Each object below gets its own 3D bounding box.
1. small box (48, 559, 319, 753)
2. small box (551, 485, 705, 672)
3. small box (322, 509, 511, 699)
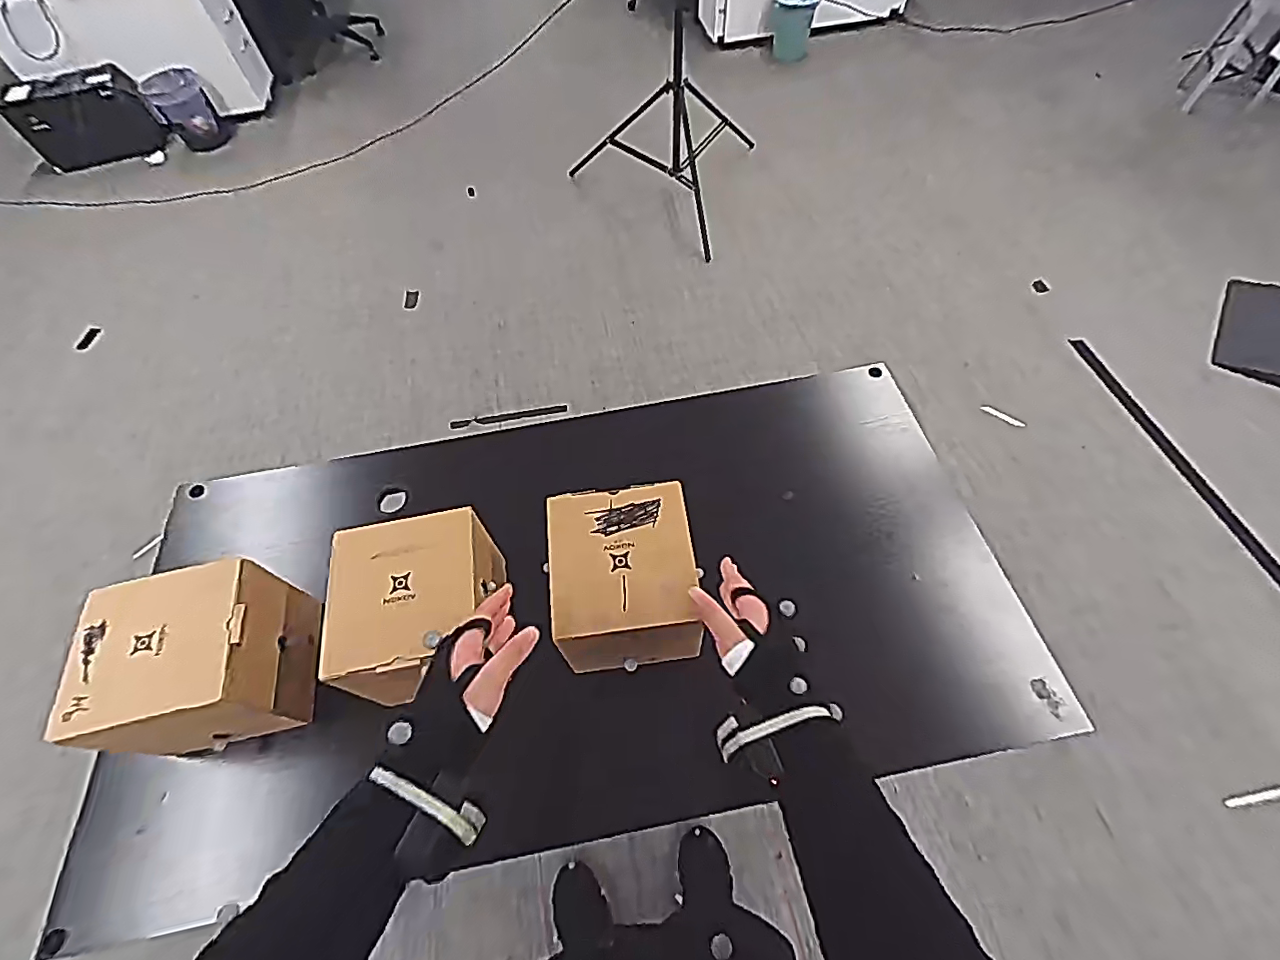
[{"bbox_3d":[-0.520,0.217,0.653,0.179,0.176,0.168,-12,59,-6],"label":"small box"},{"bbox_3d":[-0.018,0.129,0.684,0.168,0.176,0.179,-7,59,-2],"label":"small box"},{"bbox_3d":[-0.264,0.163,0.676,0.168,0.176,0.179,-11,58,-5],"label":"small box"}]
